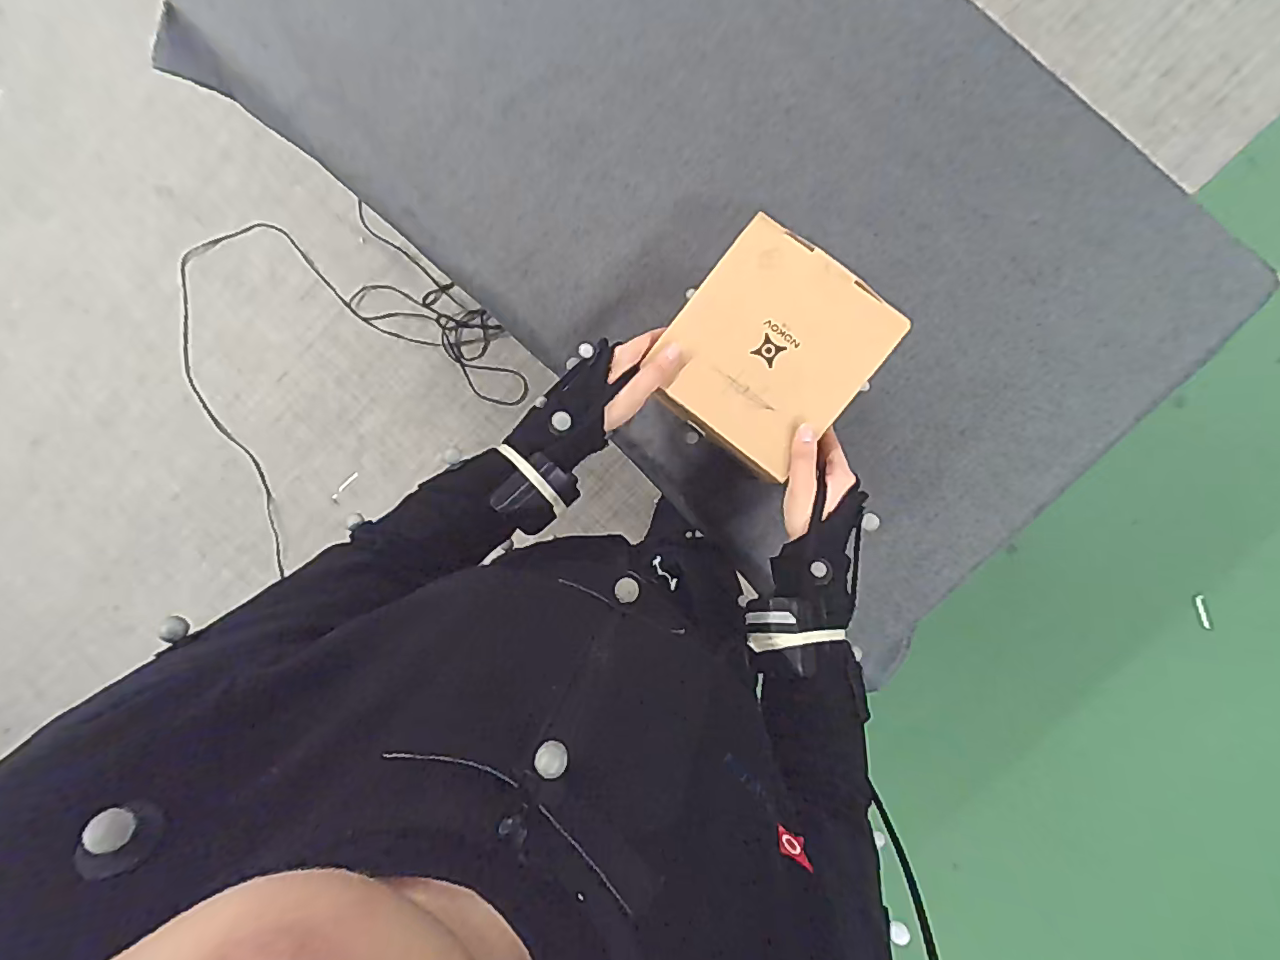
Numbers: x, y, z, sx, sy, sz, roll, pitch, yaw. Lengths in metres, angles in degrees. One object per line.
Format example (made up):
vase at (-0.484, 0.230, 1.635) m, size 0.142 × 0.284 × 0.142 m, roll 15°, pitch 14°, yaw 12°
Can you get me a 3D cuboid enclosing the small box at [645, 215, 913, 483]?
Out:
small box at (0.125, -0.115, 0.546) m, size 0.168 × 0.176 × 0.179 m, roll 38°, pitch 95°, yaw 5°
